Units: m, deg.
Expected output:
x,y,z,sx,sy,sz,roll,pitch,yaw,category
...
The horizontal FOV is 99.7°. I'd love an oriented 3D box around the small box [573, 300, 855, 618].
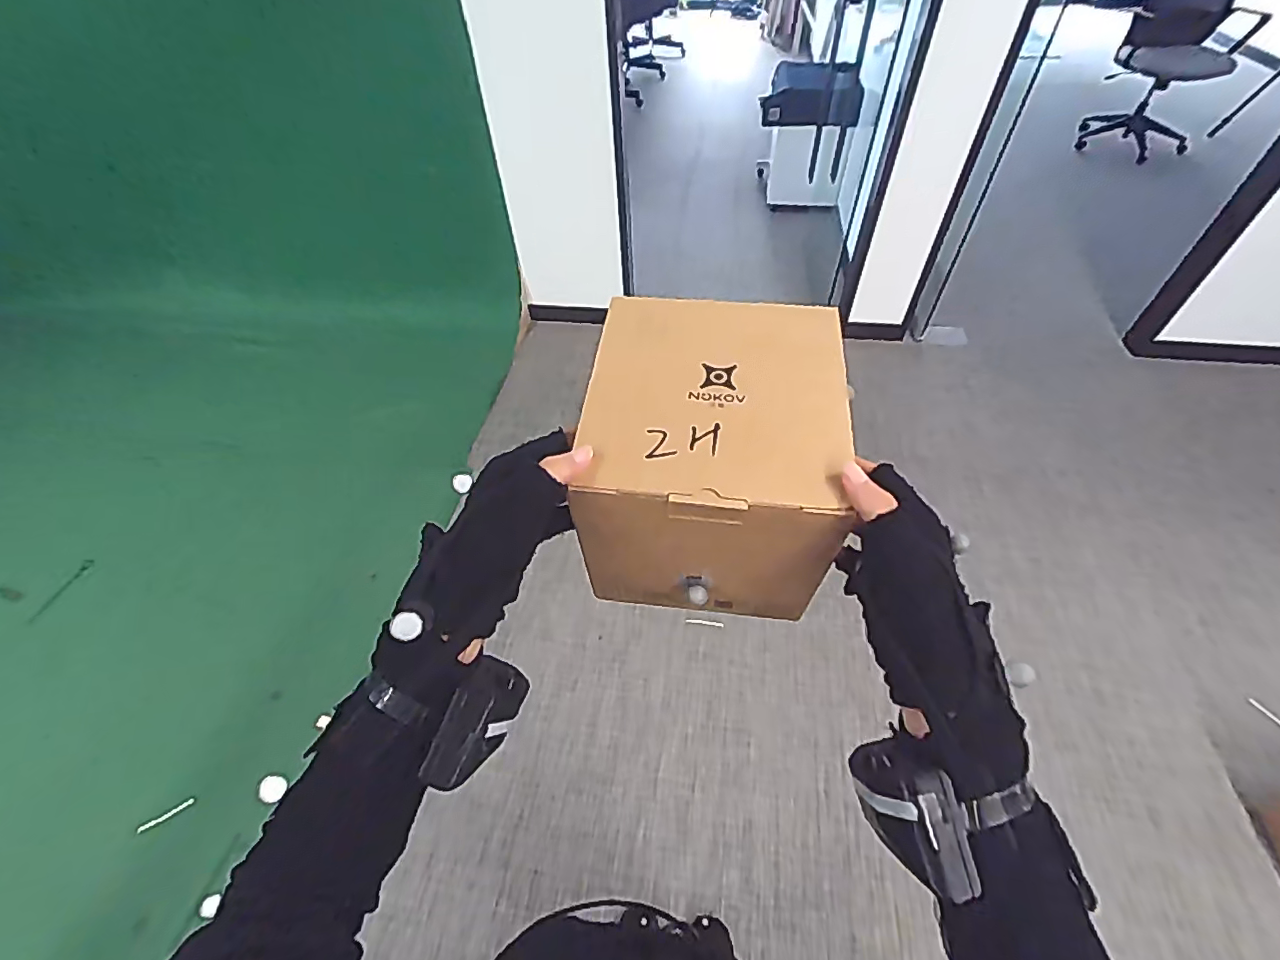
x,y,z,sx,sy,sz,roll,pitch,yaw,category
0.055,-0.013,0.421,0.168,0.176,0.179,5,56,7,small box
